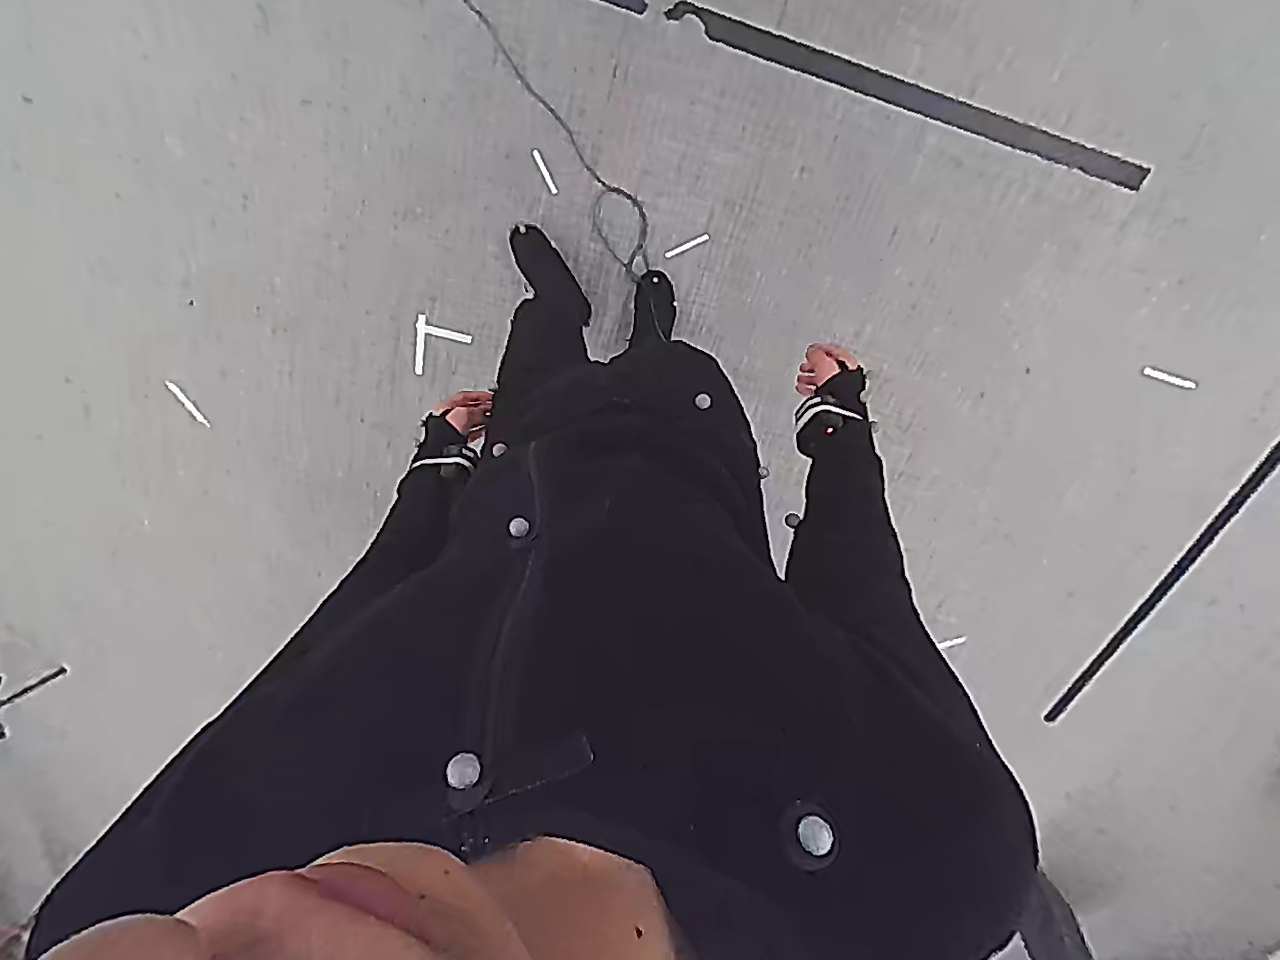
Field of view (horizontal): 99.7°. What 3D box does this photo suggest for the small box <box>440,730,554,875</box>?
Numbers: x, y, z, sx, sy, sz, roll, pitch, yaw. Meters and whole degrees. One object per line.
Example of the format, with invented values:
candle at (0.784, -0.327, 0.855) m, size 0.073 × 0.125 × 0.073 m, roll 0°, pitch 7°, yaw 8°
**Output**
small box at (-0.279, 0.638, 1.083) m, size 0.168 × 0.176 × 0.179 m, roll 17°, pitch 115°, yaw -5°
